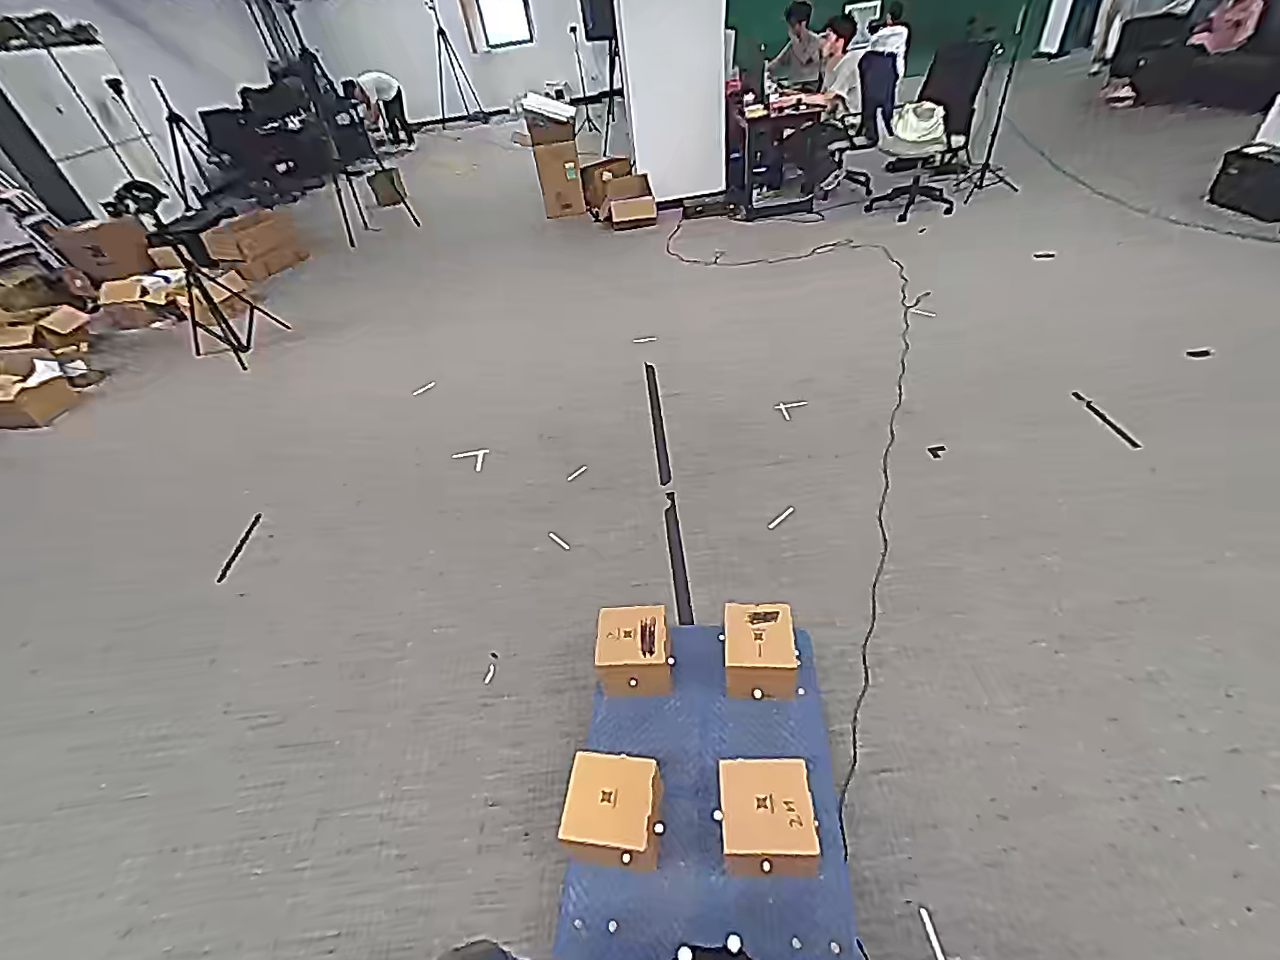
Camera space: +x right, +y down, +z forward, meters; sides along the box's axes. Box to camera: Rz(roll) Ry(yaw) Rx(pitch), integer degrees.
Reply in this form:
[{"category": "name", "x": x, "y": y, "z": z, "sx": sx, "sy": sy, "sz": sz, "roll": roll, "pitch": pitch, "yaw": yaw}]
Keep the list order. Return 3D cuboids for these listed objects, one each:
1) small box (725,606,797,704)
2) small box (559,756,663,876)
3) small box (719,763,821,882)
[{"category": "small box", "x": 0.298, "y": 0.441, "z": 1.366, "sx": 0.168, "sy": 0.176, "sz": 0.179, "roll": -2, "pitch": 43, "yaw": 9}, {"category": "small box", "x": -0.052, "y": 0.706, "z": 1.136, "sx": 0.179, "sy": 0.176, "sz": 0.168, "roll": 1, "pitch": 42, "yaw": 10}, {"category": "small box", "x": 0.255, "y": 0.691, "z": 1.091, "sx": 0.179, "sy": 0.176, "sz": 0.168, "roll": -4, "pitch": 41, "yaw": 6}]
